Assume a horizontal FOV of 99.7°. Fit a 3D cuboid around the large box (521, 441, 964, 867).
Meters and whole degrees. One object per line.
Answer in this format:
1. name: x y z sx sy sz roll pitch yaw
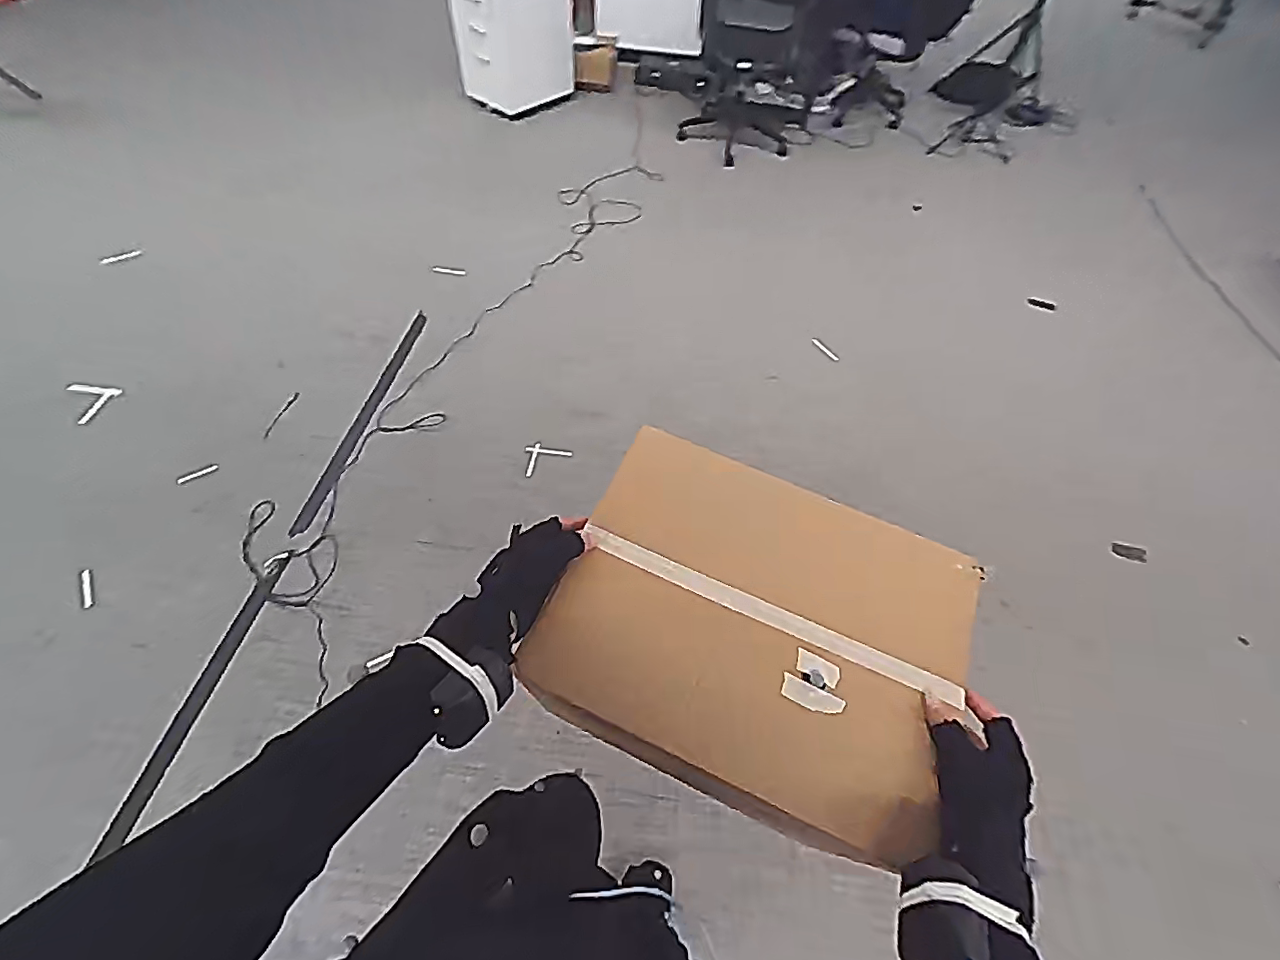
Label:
1. large box: 0.112 0.214 0.692 0.408 0.320 0.320 23 63 9
